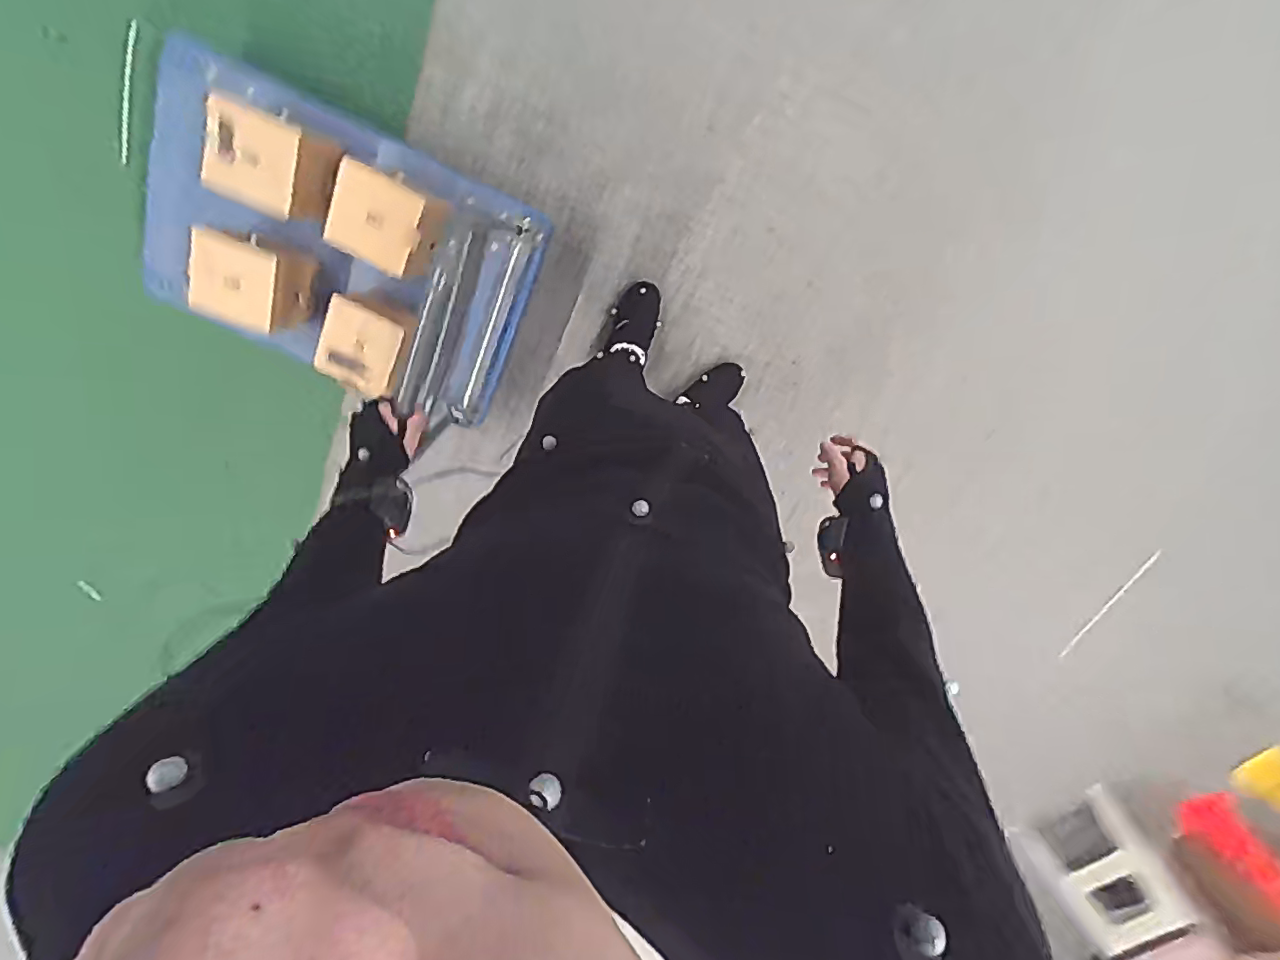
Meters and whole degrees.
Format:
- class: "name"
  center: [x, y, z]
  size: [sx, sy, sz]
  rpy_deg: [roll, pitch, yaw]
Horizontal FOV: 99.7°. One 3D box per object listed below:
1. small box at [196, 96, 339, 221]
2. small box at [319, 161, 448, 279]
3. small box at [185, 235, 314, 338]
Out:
- class: "small box"
  center: [-0.770, -0.654, 1.129]
  size: [0.179, 0.176, 0.168]
  rpy_deg: [21, 113, -9]
- class: "small box"
  center: [-0.547, -0.554, 1.170]
  size: [0.179, 0.176, 0.168]
  rpy_deg: [24, 112, -10]
- class: "small box"
  center: [-0.874, -0.441, 1.224]
  size: [0.179, 0.176, 0.168]
  rpy_deg: [20, 112, -7]
